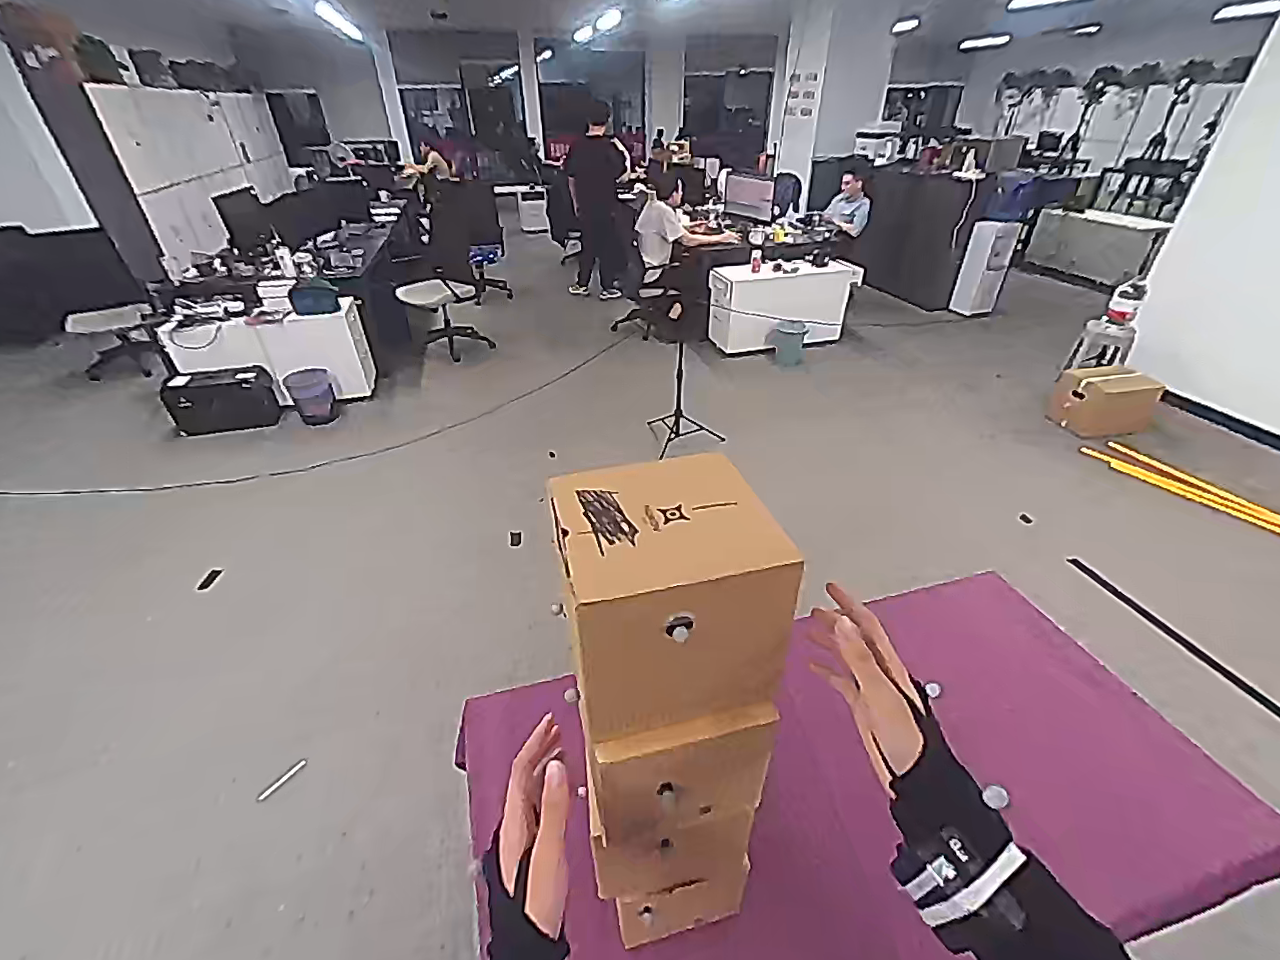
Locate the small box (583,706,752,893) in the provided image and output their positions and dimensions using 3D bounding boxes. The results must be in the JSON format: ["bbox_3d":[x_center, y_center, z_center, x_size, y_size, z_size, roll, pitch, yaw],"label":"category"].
[{"bbox_3d":[0.026,0.377,0.670,0.179,0.176,0.168,-5,35,-6],"label":"small box"}]

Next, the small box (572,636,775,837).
[{"bbox_3d":[0.026,0.245,0.575,0.168,0.176,0.179,-9,34,-11],"label":"small box"}]

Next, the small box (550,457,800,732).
[{"bbox_3d":[0.021,0.100,0.497,0.179,0.176,0.168,-9,34,-12],"label":"small box"}]
